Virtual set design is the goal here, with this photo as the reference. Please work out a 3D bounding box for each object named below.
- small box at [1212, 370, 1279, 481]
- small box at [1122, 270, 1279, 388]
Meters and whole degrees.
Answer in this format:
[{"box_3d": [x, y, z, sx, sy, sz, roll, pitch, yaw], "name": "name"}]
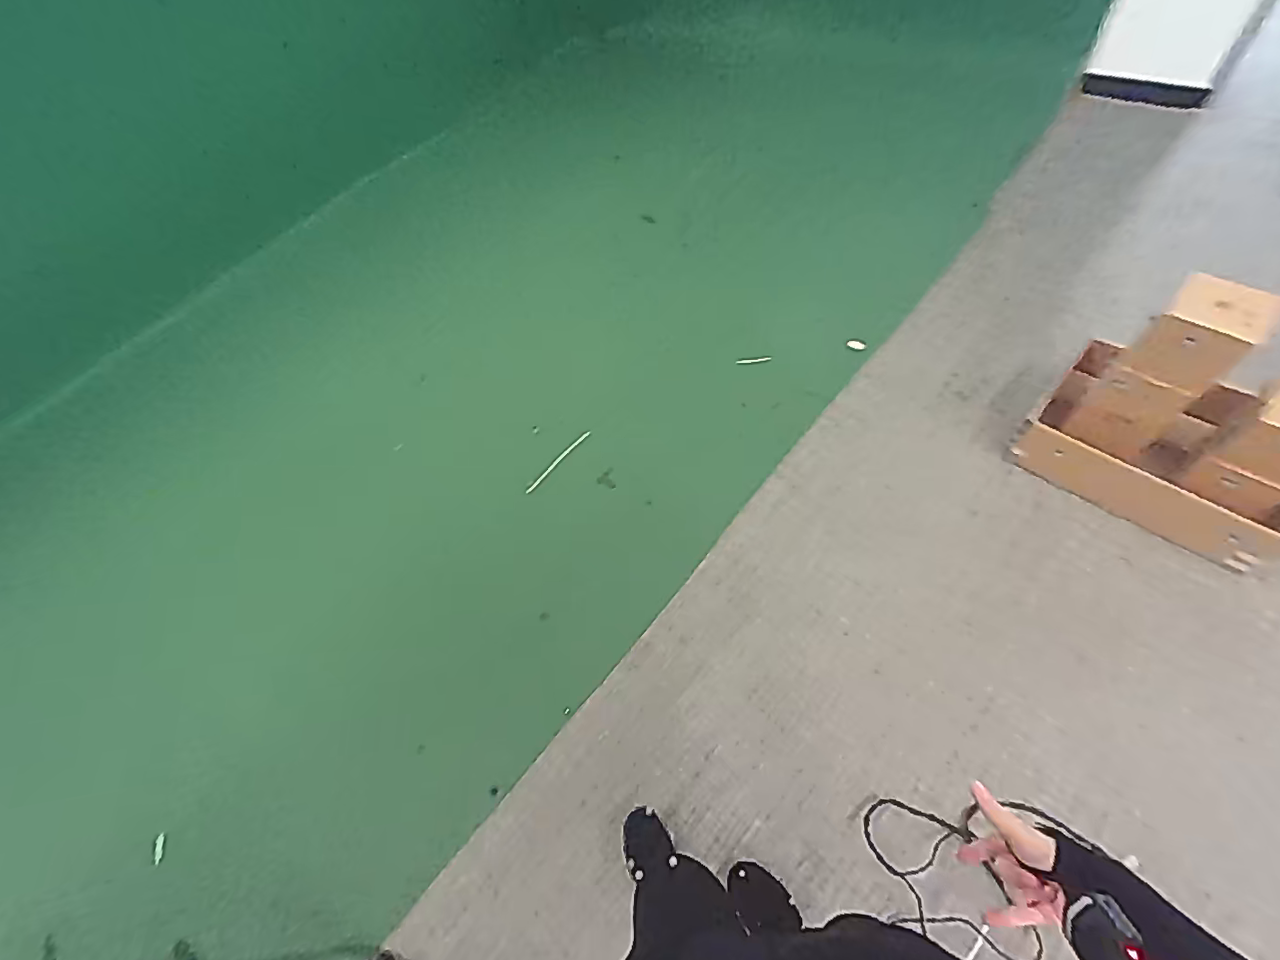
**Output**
[{"box_3d": [1.513, -0.119, 1.259, 0.179, 0.176, 0.168, 34, 73, 27], "name": "small box"}, {"box_3d": [1.278, -0.343, 1.245, 0.179, 0.176, 0.168, 37, 73, 27], "name": "small box"}]
